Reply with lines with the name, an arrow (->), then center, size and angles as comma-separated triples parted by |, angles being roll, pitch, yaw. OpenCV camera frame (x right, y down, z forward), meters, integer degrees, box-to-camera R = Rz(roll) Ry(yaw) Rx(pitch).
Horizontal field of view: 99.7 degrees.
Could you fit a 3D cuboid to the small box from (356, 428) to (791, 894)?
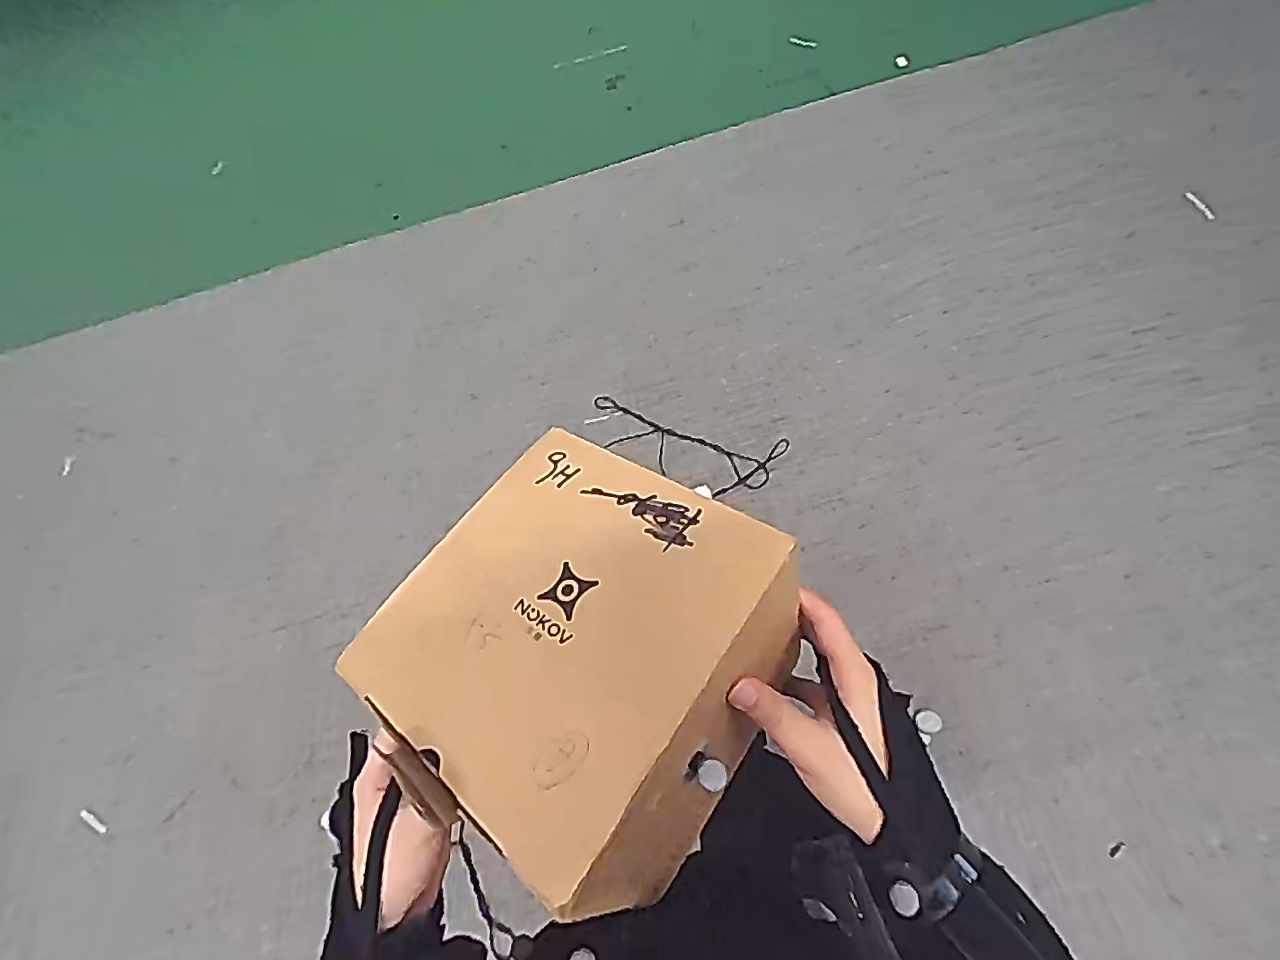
small box -> -0.017, 0.106, 0.331 | 0.168, 0.176, 0.179 | 26, 67, 30
